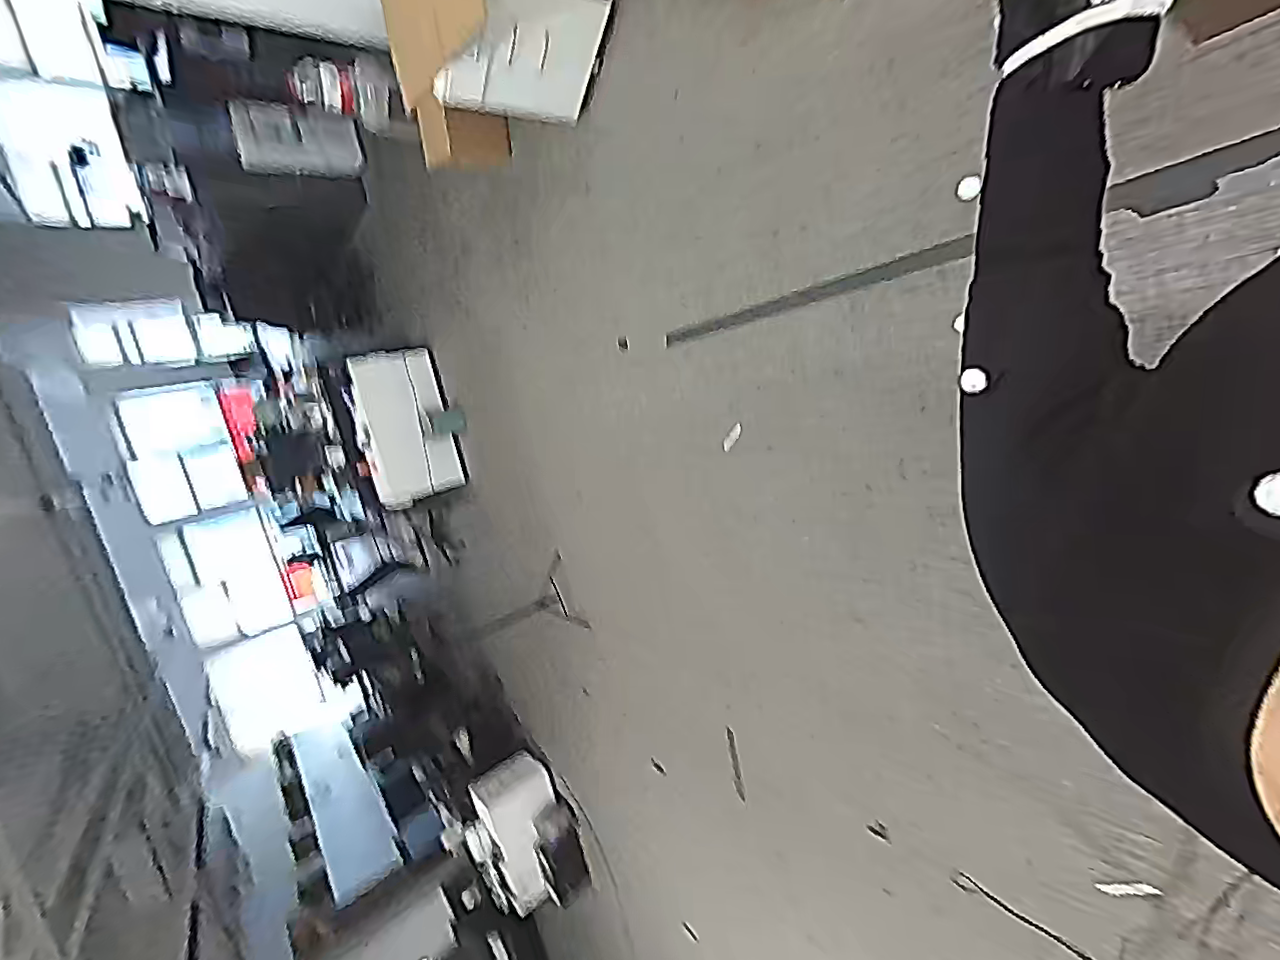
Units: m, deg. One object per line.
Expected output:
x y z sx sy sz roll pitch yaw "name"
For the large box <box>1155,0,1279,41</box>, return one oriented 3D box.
0.513 -0.530 0.265 0.408 0.320 0.320 -1 108 52 "large box"
